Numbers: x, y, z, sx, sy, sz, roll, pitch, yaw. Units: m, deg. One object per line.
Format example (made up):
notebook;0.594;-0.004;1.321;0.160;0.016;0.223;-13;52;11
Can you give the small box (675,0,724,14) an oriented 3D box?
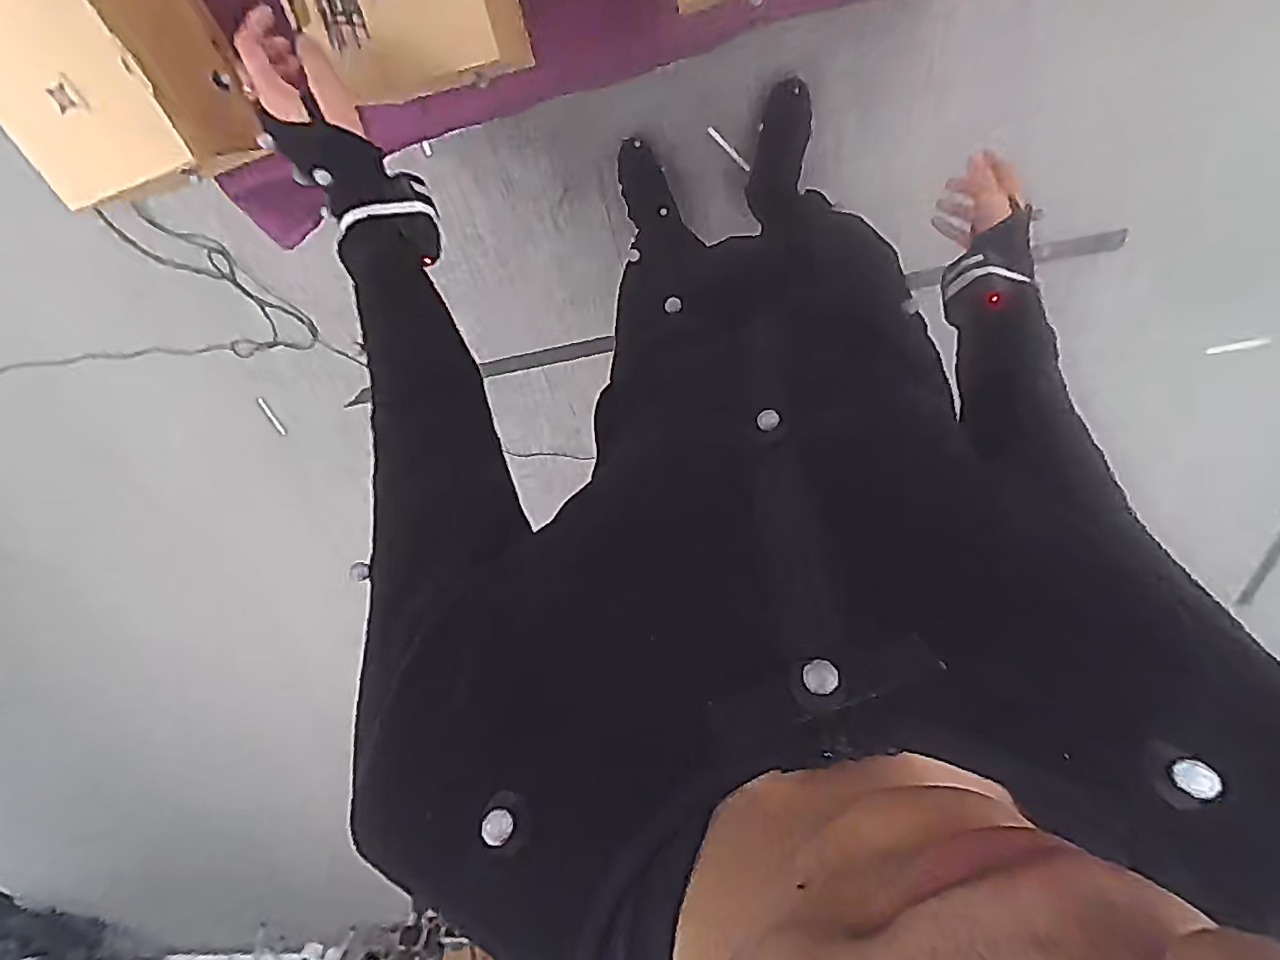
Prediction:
small box;0.089;-0.547;0.468;0.168;0.176;0.179;-13;125;12

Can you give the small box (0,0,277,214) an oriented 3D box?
small box;-0.560;-0.417;0.596;0.179;0.176;0.168;-14;124;11
